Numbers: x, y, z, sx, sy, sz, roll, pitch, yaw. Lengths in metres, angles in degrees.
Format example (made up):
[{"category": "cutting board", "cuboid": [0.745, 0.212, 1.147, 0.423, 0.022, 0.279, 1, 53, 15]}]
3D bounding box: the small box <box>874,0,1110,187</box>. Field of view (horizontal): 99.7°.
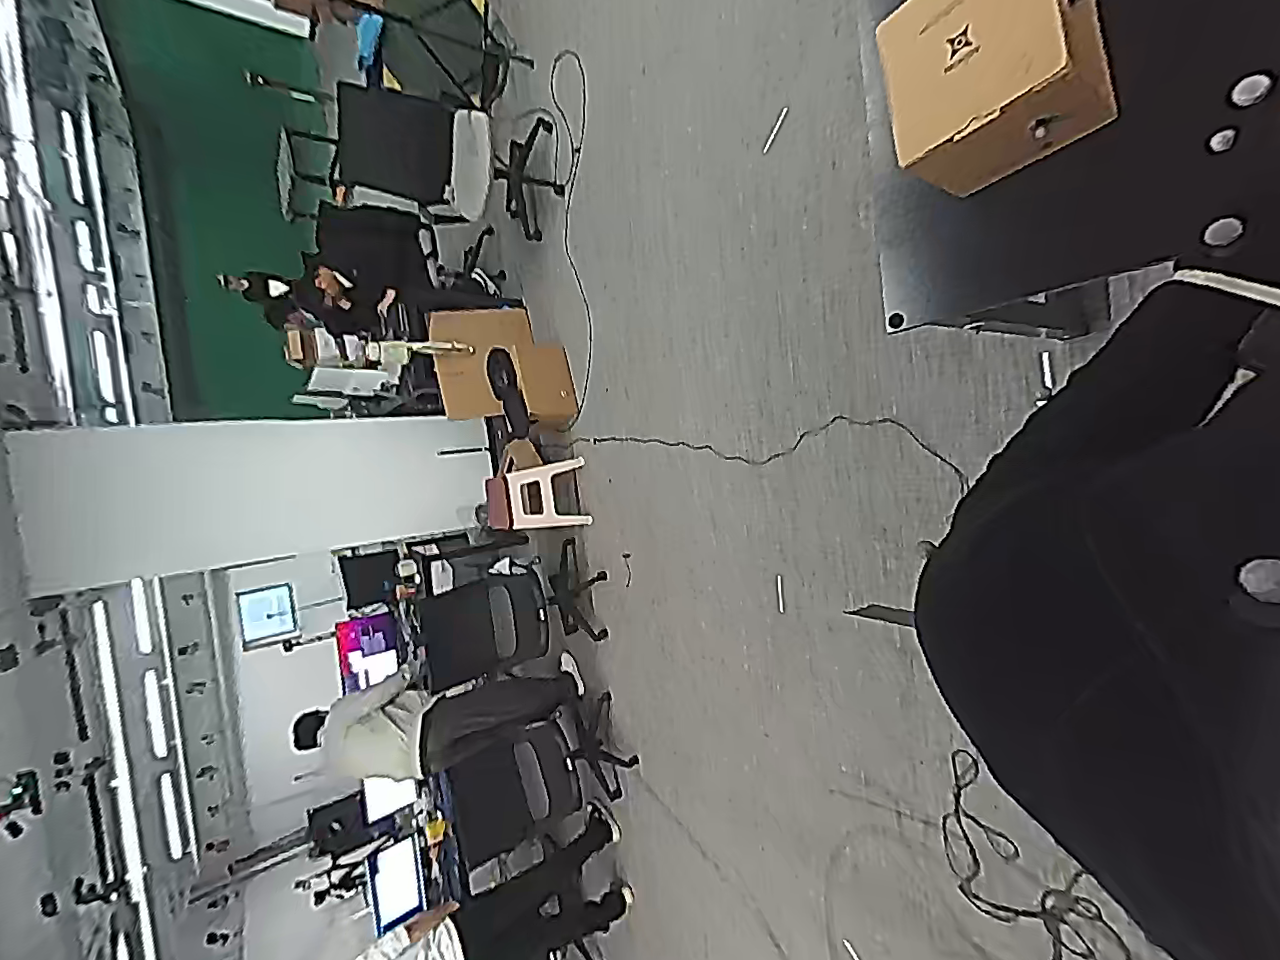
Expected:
[{"category": "small box", "cuboid": [0.402, -0.465, 0.620, 0.168, 0.176, 0.179, -13, 85, 53]}]
